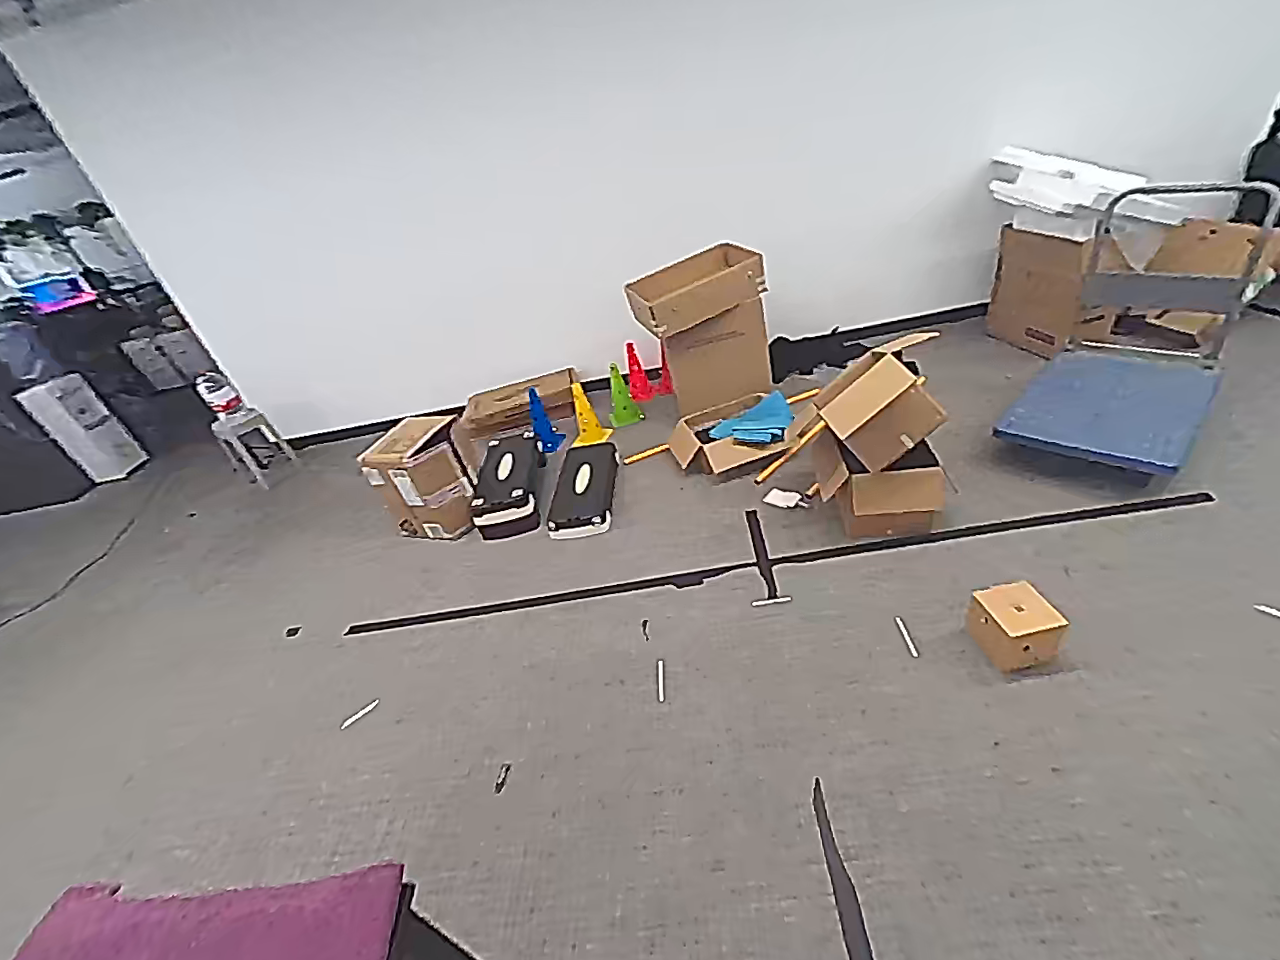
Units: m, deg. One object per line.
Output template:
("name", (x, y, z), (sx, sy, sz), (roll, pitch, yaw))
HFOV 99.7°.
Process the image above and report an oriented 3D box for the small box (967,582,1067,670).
("small box", (1.101, 0.435, 1.592), (0.168, 0.176, 0.179), (-14, 33, 1))
